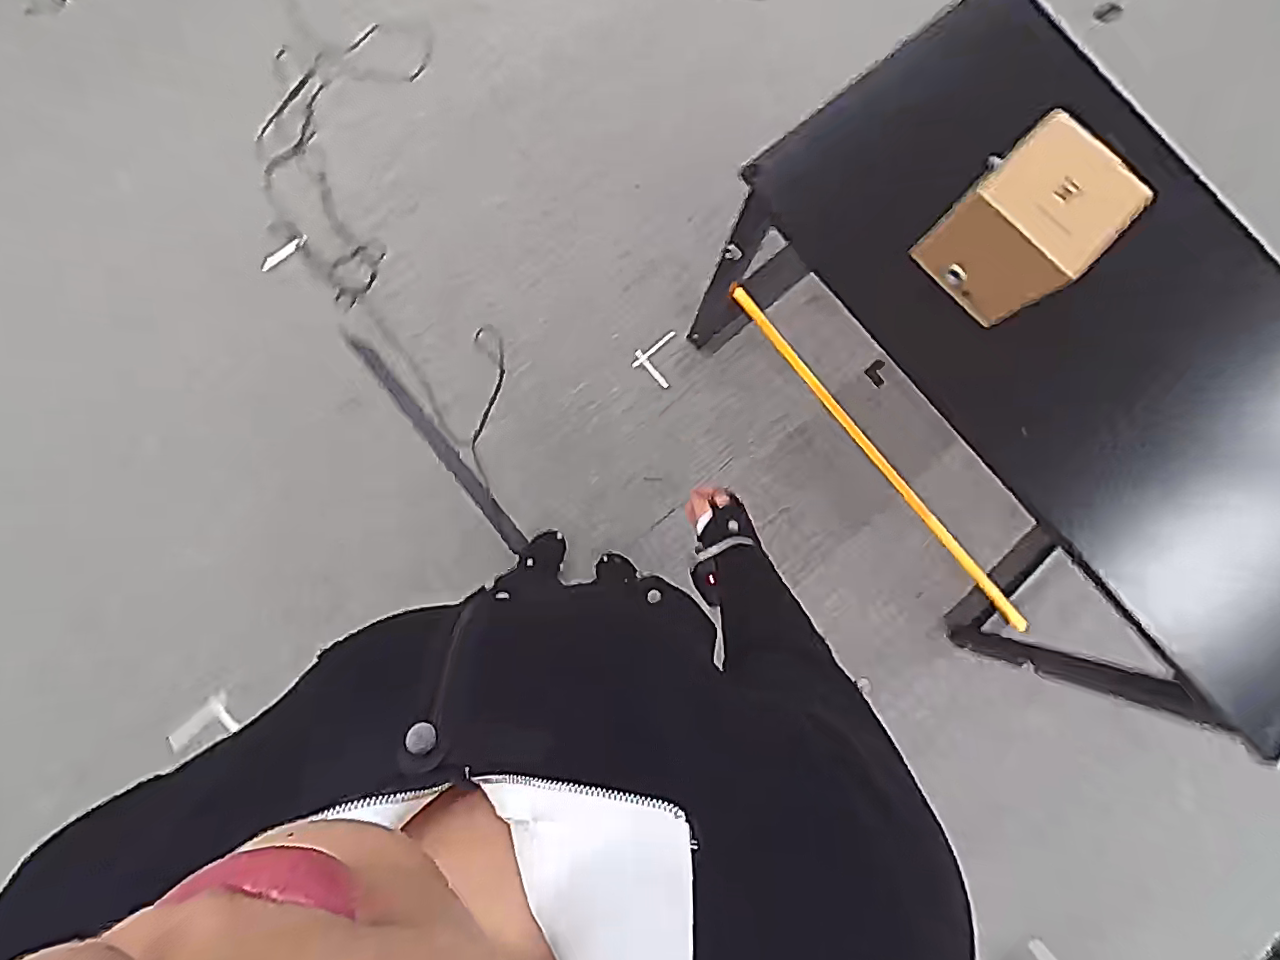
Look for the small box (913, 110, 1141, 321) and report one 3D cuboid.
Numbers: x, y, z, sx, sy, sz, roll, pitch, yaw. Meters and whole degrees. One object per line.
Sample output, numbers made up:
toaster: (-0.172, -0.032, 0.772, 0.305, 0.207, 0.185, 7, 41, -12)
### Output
small box: (0.543, -0.370, 0.786, 0.168, 0.176, 0.179, 43, 84, 2)
